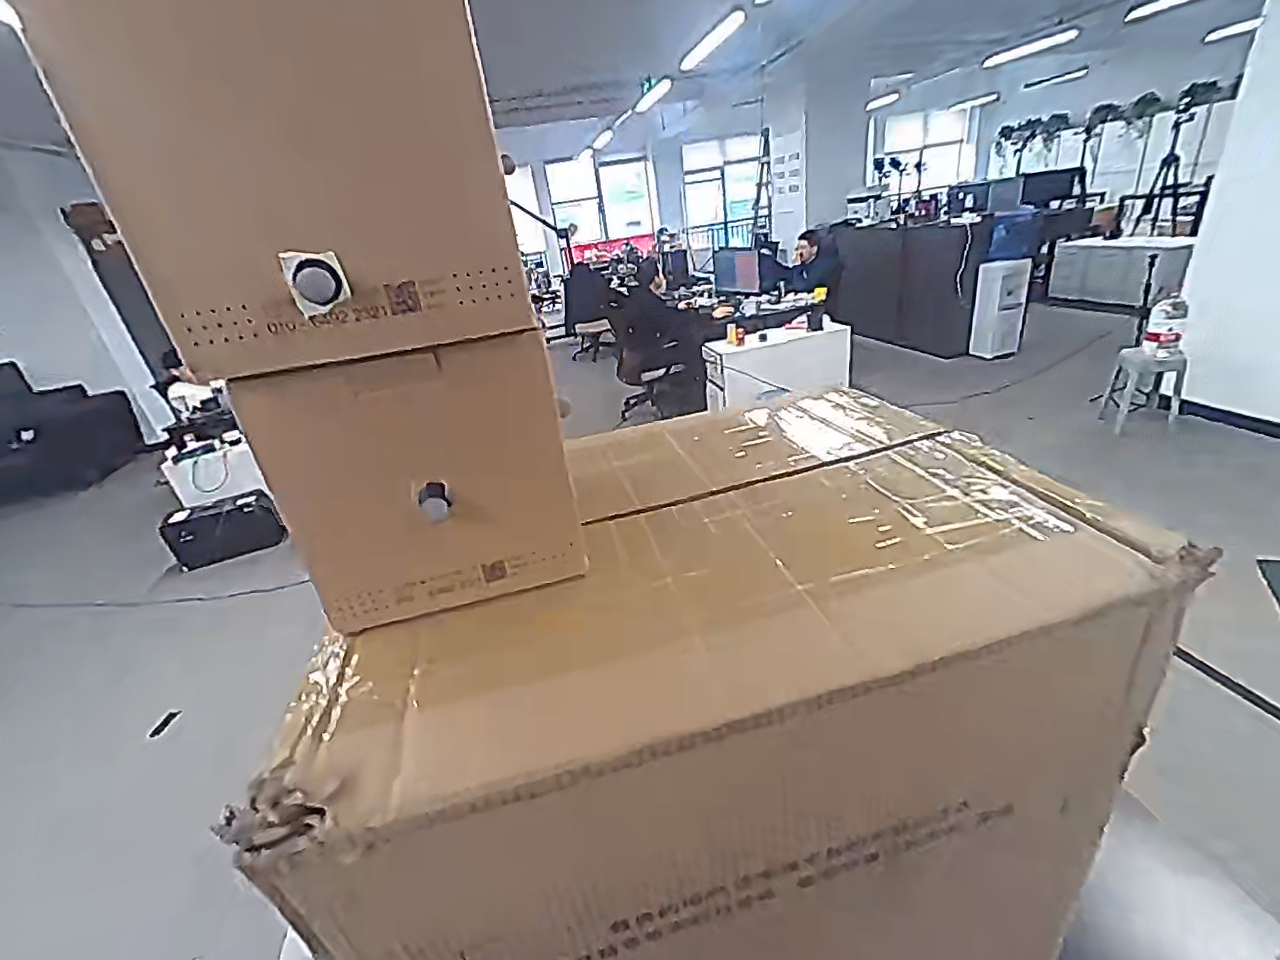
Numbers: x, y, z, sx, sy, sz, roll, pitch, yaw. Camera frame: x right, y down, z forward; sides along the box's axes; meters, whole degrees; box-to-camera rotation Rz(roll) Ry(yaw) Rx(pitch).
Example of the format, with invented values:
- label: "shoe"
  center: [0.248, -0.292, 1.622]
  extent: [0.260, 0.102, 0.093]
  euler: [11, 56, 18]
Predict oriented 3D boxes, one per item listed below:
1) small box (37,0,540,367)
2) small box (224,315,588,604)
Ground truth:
- label: "small box"
  center: [-0.160, -0.170, 0.308]
  extent: [0.168, 0.176, 0.179]
  euler: [-14, 26, -10]
- label: "small box"
  center: [-0.140, -0.030, 0.390]
  extent: [0.168, 0.176, 0.179]
  euler: [-13, 26, -10]
